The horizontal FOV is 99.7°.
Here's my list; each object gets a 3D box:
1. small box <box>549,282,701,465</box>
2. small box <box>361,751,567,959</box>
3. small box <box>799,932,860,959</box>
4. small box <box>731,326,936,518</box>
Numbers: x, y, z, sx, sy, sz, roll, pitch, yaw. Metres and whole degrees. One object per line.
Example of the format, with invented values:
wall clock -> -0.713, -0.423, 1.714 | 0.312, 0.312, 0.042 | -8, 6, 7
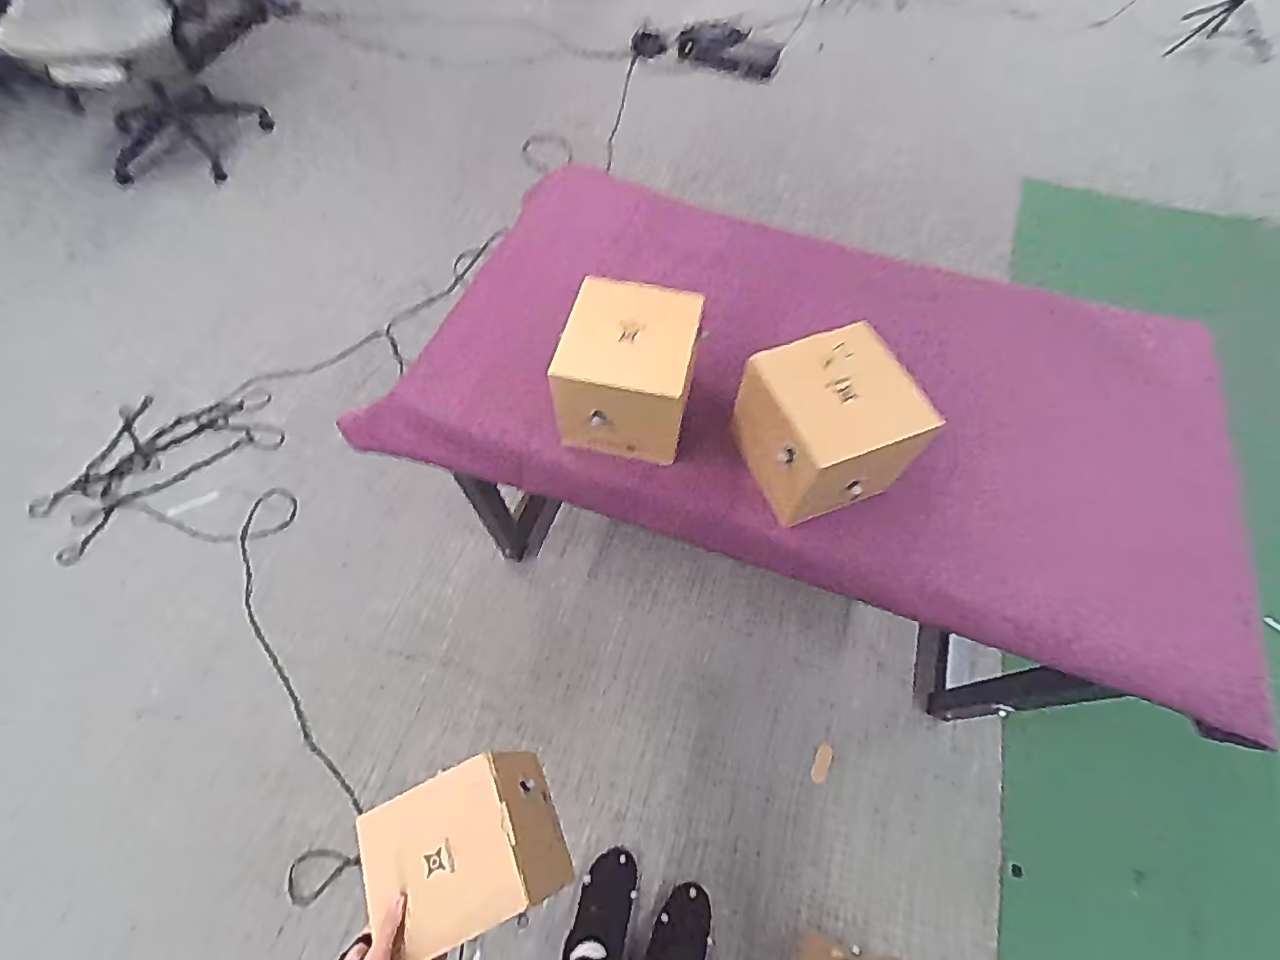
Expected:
small box -> -0.015, -0.143, 0.759 | 0.168, 0.176, 0.179 | 11, 61, 5
small box -> -0.203, 0.453, 0.666 | 0.179, 0.176, 0.168 | -26, 60, -2
small box -> 0.378, 0.978, 0.991 | 0.179, 0.176, 0.168 | 27, 65, 13
small box -> 0.239, -0.066, 0.719 | 0.168, 0.176, 0.179 | -18, 63, -11
